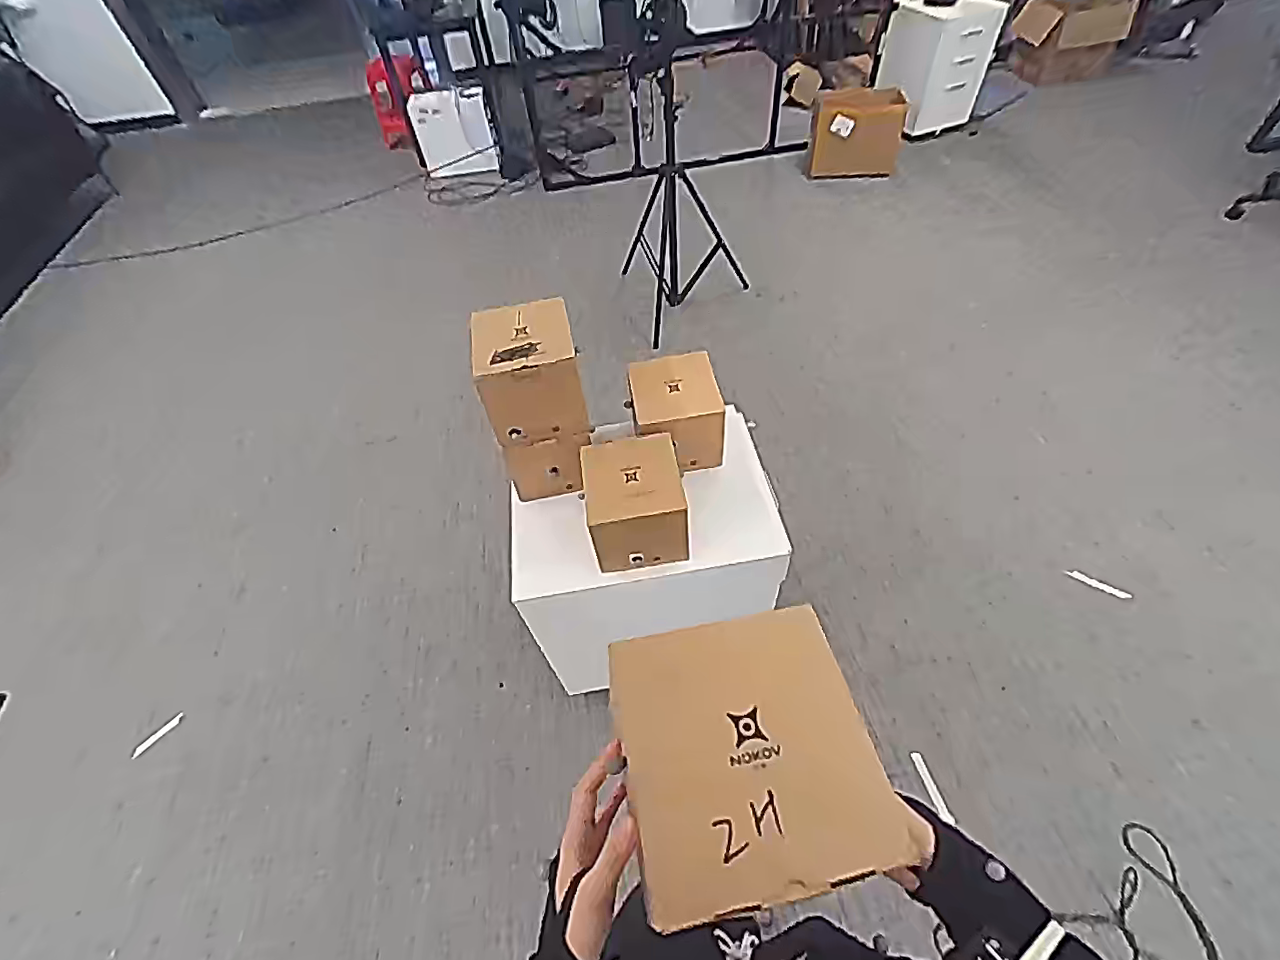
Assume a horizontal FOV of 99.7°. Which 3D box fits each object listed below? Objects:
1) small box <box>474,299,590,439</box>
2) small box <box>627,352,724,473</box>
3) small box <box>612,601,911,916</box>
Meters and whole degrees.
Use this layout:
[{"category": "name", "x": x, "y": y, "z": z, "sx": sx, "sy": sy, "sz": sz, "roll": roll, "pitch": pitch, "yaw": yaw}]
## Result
[{"category": "small box", "x": -0.189, "y": -0.189, "z": 0.963, "sx": 0.168, "sy": 0.176, "sz": 0.179, "roll": -12, "pitch": 52, "yaw": -4}, {"category": "small box", "x": 0.073, "y": -0.129, "z": 1.102, "sx": 0.168, "sy": 0.176, "sz": 0.179, "roll": -10, "pitch": 52, "yaw": -1}, {"category": "small box", "x": 0.071, "y": 0.225, "z": 0.436, "sx": 0.168, "sy": 0.176, "sz": 0.179, "roll": -9, "pitch": 53, "yaw": -8}]
